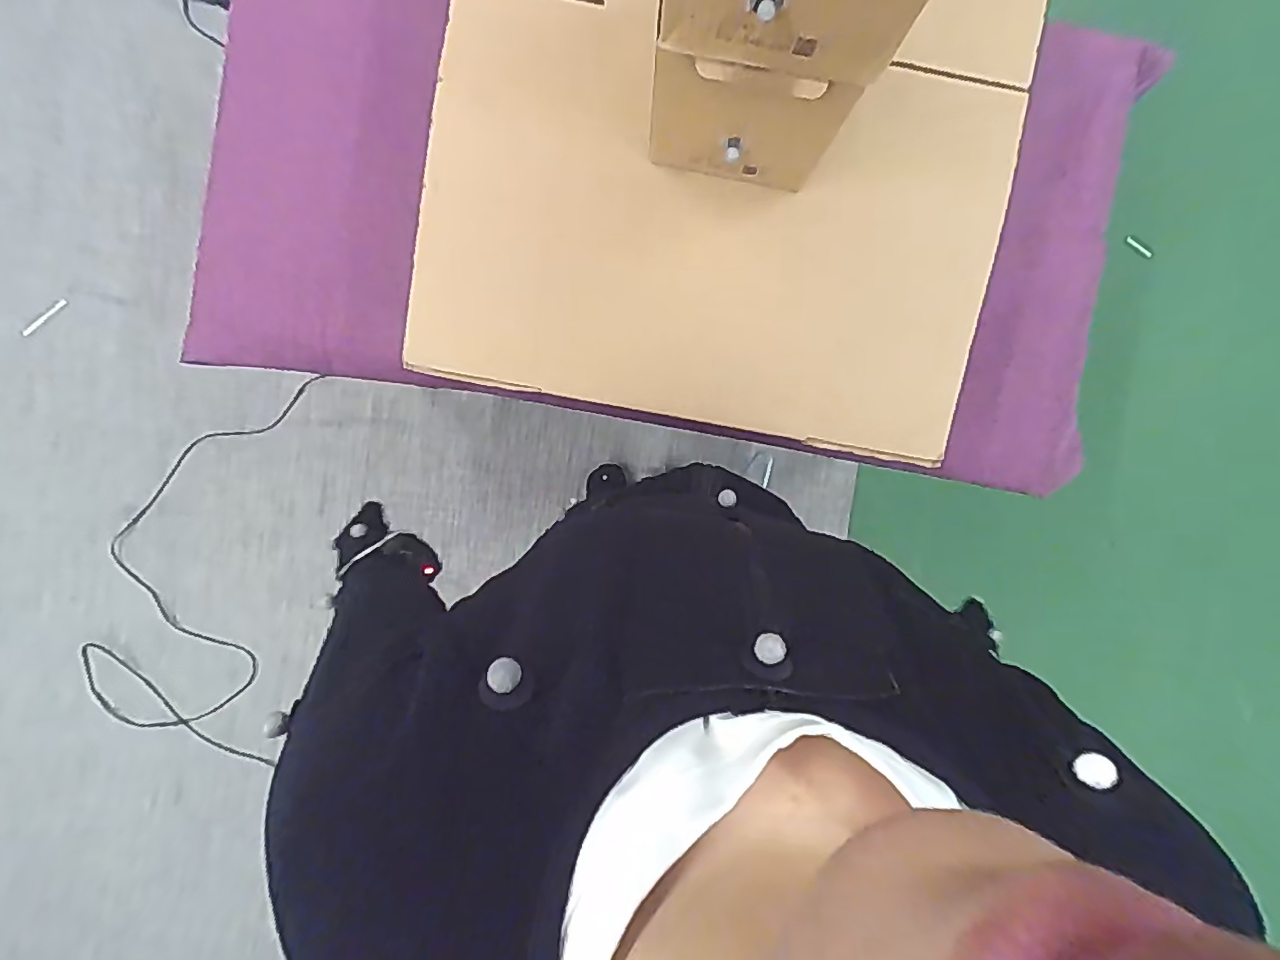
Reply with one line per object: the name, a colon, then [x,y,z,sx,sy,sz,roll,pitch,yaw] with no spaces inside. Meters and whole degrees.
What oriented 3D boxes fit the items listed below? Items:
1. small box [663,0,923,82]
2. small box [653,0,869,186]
small box: [0.108,-0.390,0.317,0.168,0.176,0.179,9,92,-2]
small box: [0.106,-0.402,0.480,0.168,0.176,0.179,11,92,-1]
